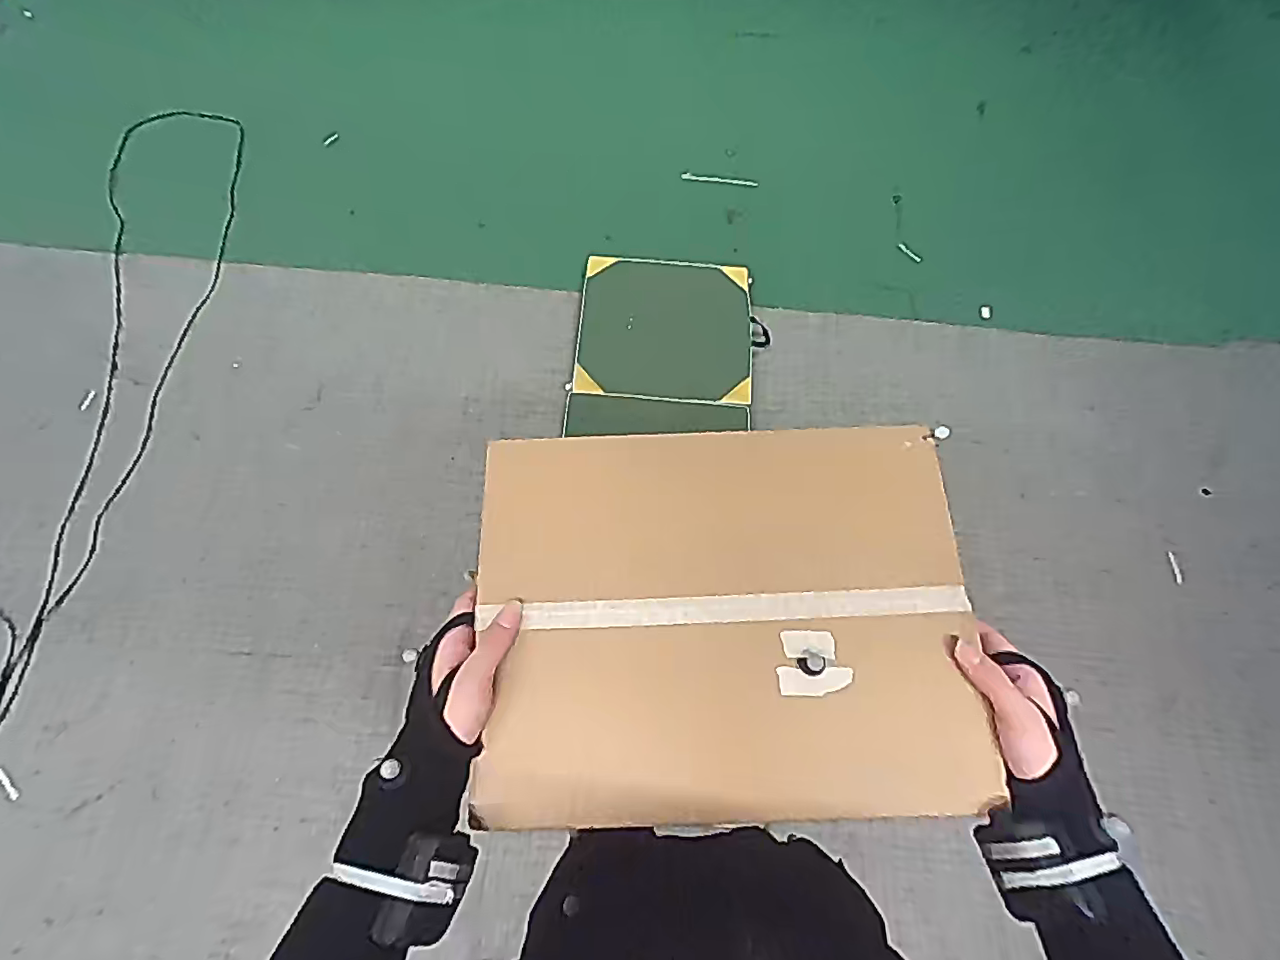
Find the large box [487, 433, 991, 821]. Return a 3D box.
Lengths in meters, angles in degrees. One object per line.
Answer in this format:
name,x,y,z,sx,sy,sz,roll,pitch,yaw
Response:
large box,0.070,0.155,0.606,0.408,0.320,0.320,-2,73,0
